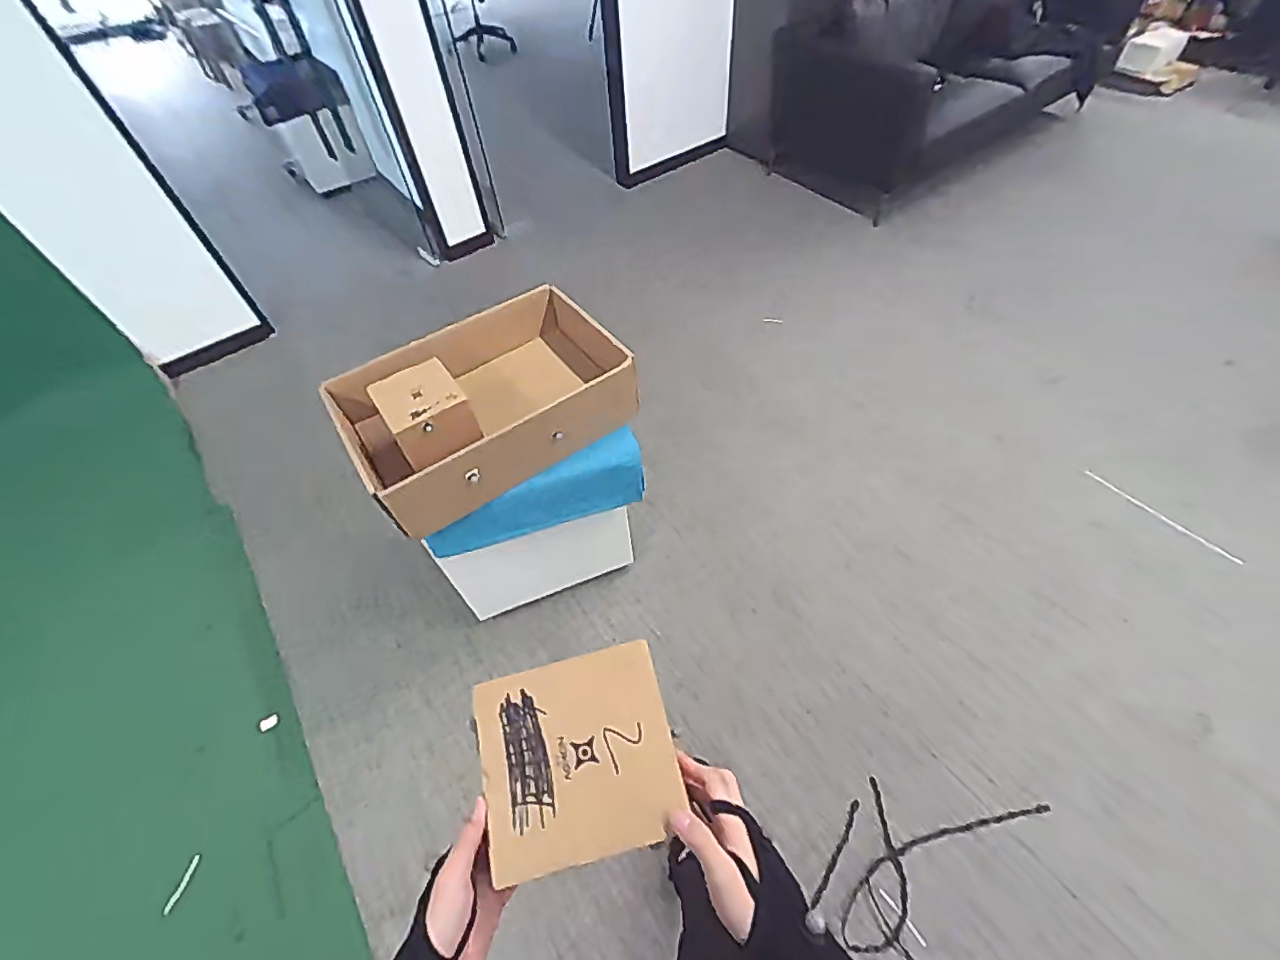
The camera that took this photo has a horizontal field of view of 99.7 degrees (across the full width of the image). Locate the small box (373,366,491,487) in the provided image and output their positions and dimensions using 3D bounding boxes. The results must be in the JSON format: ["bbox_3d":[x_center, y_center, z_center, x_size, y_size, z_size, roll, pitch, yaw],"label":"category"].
[{"bbox_3d":[-0.459,-0.116,1.207,0.168,0.176,0.179,-32,55,-19],"label":"small box"}]
